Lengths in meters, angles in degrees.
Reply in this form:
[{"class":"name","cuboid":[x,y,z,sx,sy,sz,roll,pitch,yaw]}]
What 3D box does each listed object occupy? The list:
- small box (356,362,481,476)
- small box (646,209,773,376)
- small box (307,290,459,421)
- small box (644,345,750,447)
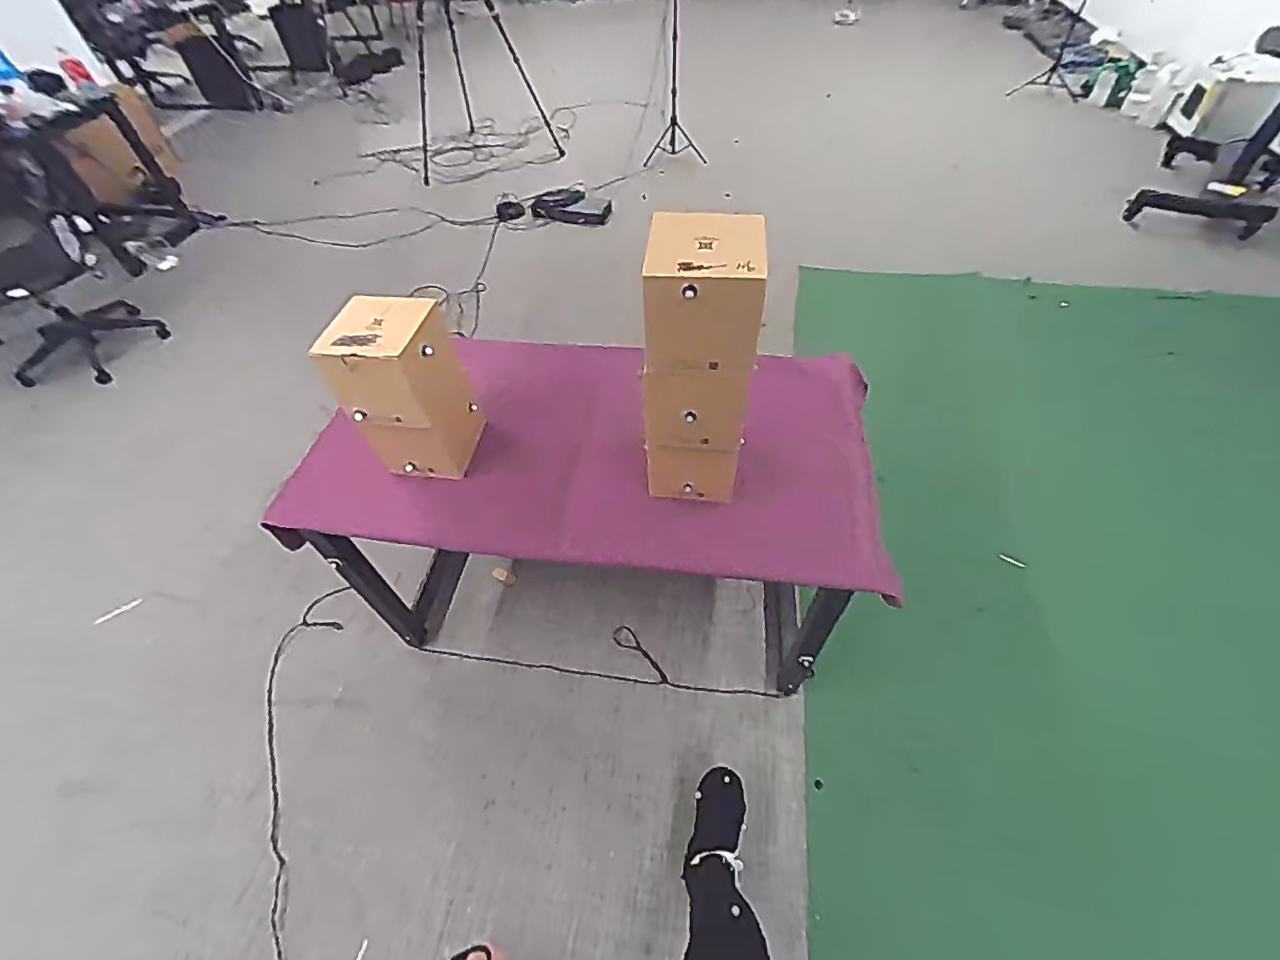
[{"class":"small box","cuboid":[-0.446,-0.132,1.127,0.168,0.176,0.179,5,52,7]},{"class":"small box","cuboid":[0.101,-0.278,0.802,0.168,0.176,0.179,4,51,6]},{"class":"small box","cuboid":[-0.455,-0.227,0.994,0.168,0.176,0.179,5,50,7]},{"class":"small box","cuboid":[0.103,-0.176,0.930,0.168,0.176,0.179,6,52,7]}]
